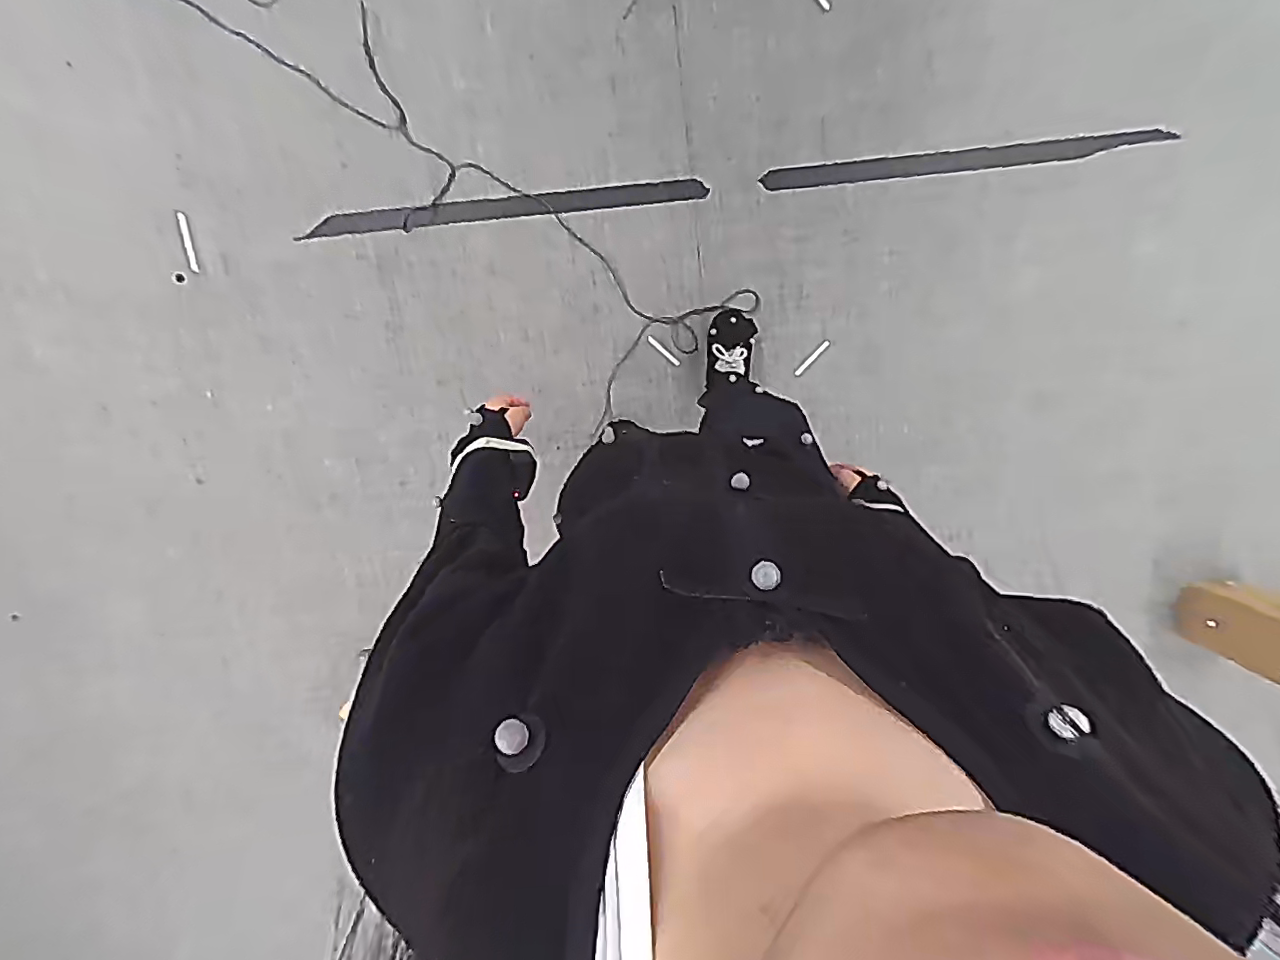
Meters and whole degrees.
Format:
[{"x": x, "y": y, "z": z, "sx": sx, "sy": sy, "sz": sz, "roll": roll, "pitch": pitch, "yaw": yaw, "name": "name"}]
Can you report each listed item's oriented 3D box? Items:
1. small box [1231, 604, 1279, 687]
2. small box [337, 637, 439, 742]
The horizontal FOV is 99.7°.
[{"x": 1.696, "y": 0.434, "z": 1.390, "sx": 0.168, "sy": 0.176, "sz": 0.179, "roll": -3, "pitch": 101, "yaw": -2, "name": "small box"}, {"x": -0.699, "y": 0.584, "z": 1.524, "sx": 0.168, "sy": 0.176, "sz": 0.179, "roll": 37, "pitch": 99, "yaw": -8, "name": "small box"}]
